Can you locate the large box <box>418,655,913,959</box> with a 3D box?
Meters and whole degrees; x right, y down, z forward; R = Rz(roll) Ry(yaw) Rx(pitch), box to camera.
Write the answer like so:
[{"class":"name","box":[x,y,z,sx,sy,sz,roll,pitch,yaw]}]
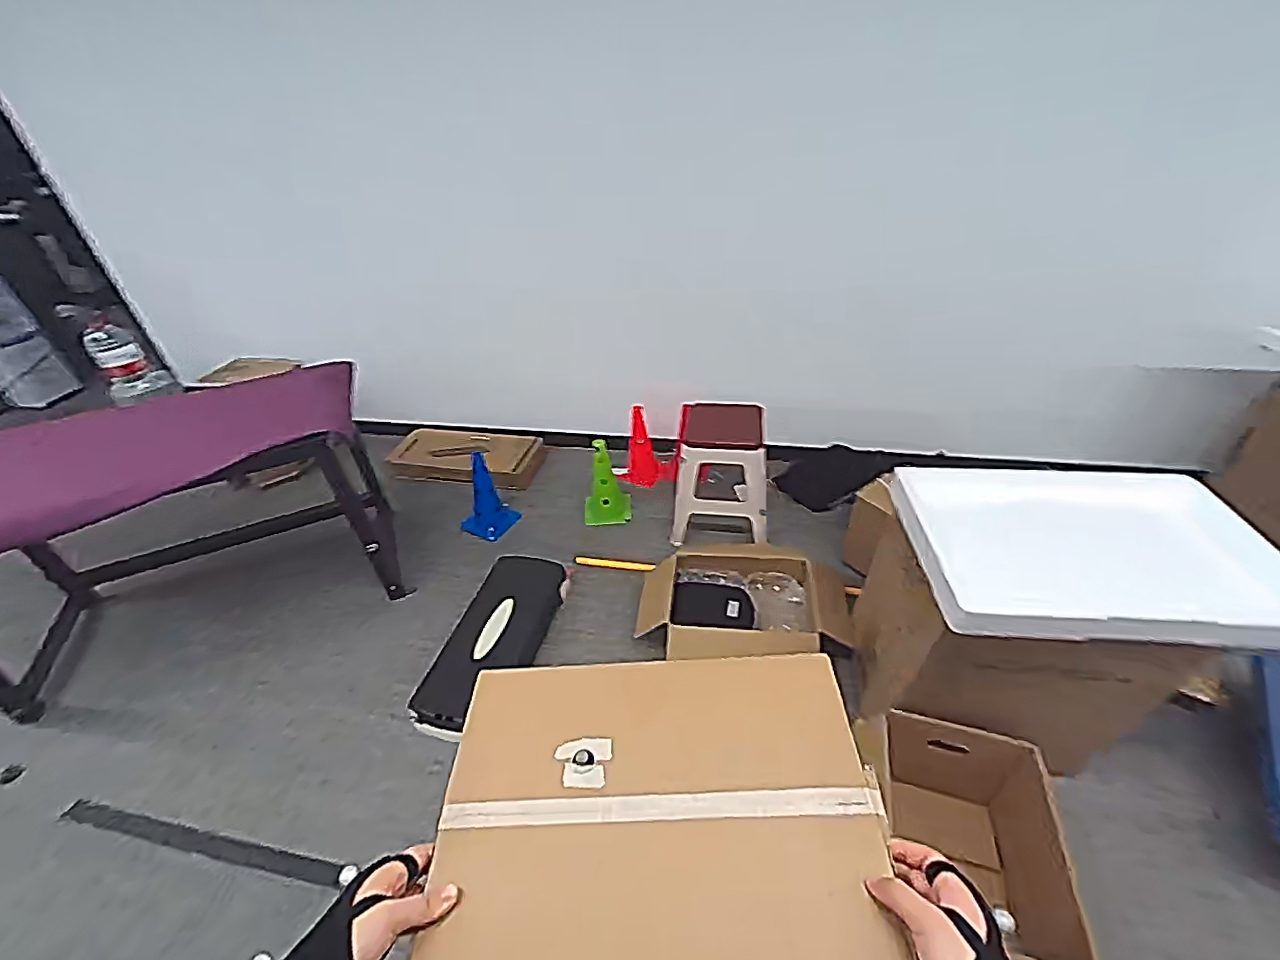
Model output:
[{"class":"large box","box":[0.031,0.432,0.604,0.408,0.320,0.320,-7,38,5]}]
